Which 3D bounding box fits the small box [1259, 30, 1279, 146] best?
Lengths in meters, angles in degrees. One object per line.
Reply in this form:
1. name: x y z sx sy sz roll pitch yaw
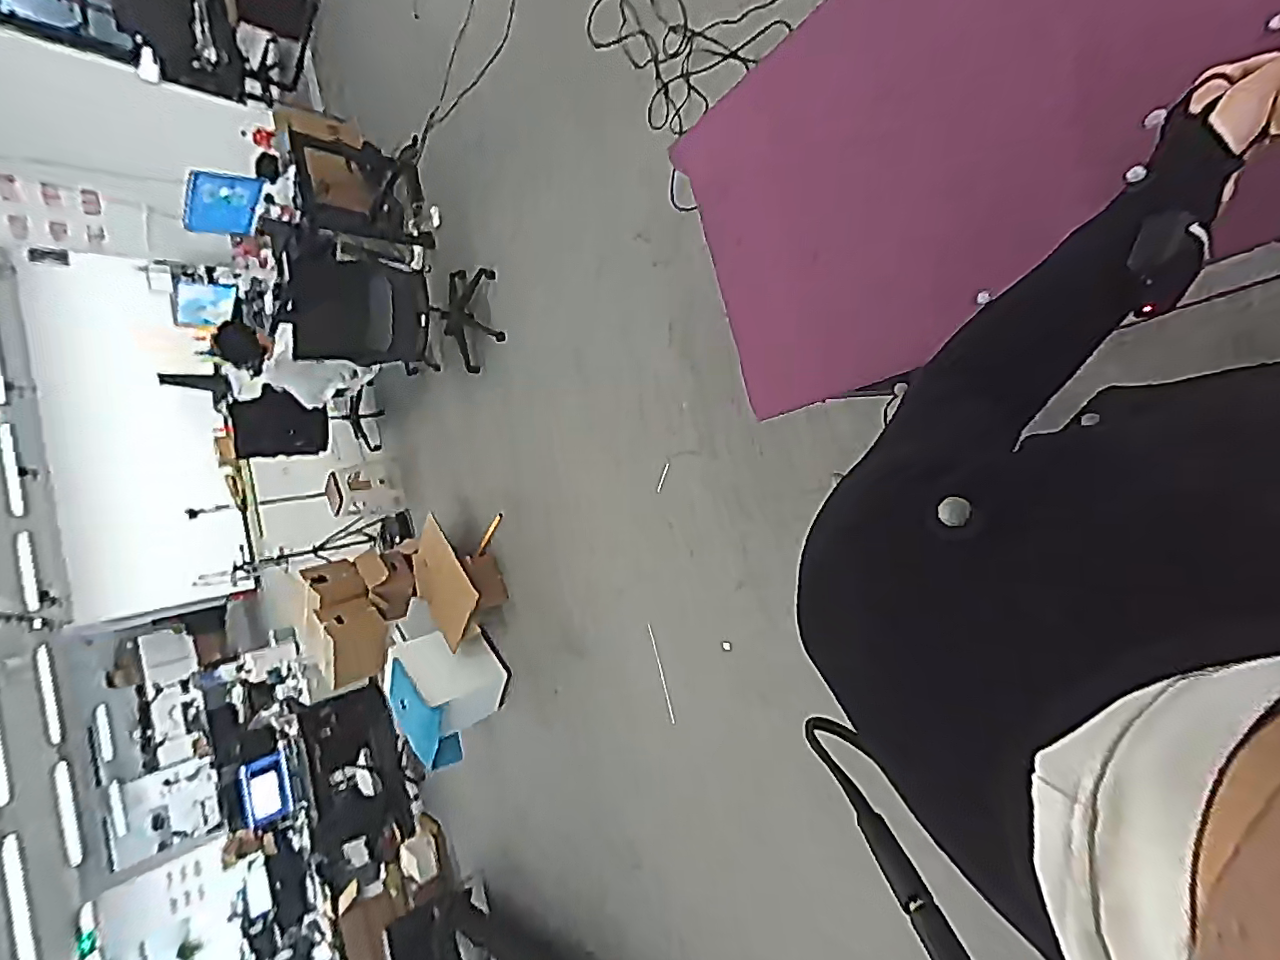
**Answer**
1. small box: 0.638 -0.390 0.433 0.168 0.176 0.179 14 119 45
